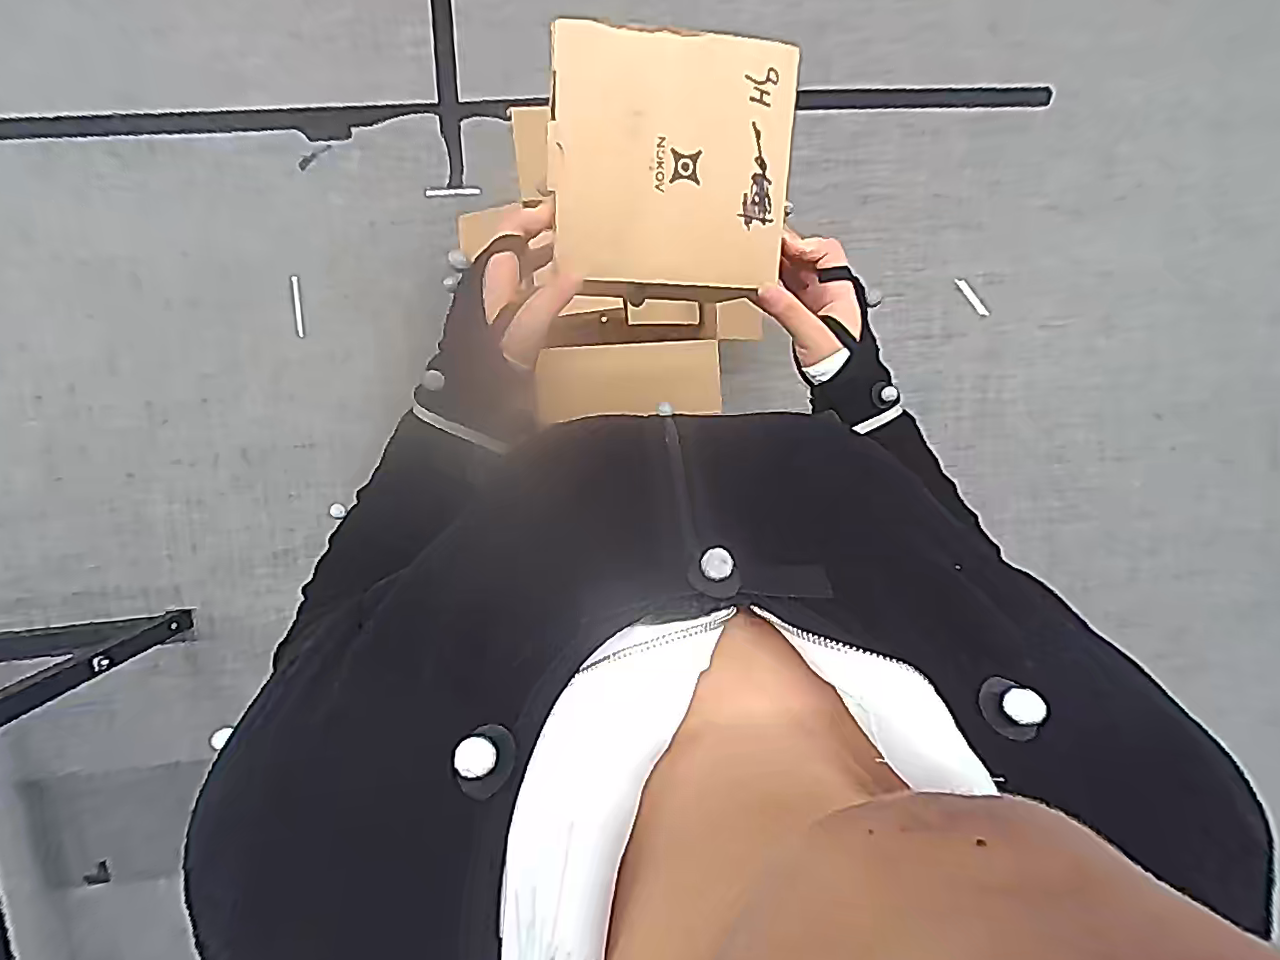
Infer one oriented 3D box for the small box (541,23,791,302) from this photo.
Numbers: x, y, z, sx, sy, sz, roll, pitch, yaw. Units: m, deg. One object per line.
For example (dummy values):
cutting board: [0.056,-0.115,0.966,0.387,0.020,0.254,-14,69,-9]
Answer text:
small box: [0.010,-0.248,0.469,0.179,0.176,0.168,0,105,-7]
